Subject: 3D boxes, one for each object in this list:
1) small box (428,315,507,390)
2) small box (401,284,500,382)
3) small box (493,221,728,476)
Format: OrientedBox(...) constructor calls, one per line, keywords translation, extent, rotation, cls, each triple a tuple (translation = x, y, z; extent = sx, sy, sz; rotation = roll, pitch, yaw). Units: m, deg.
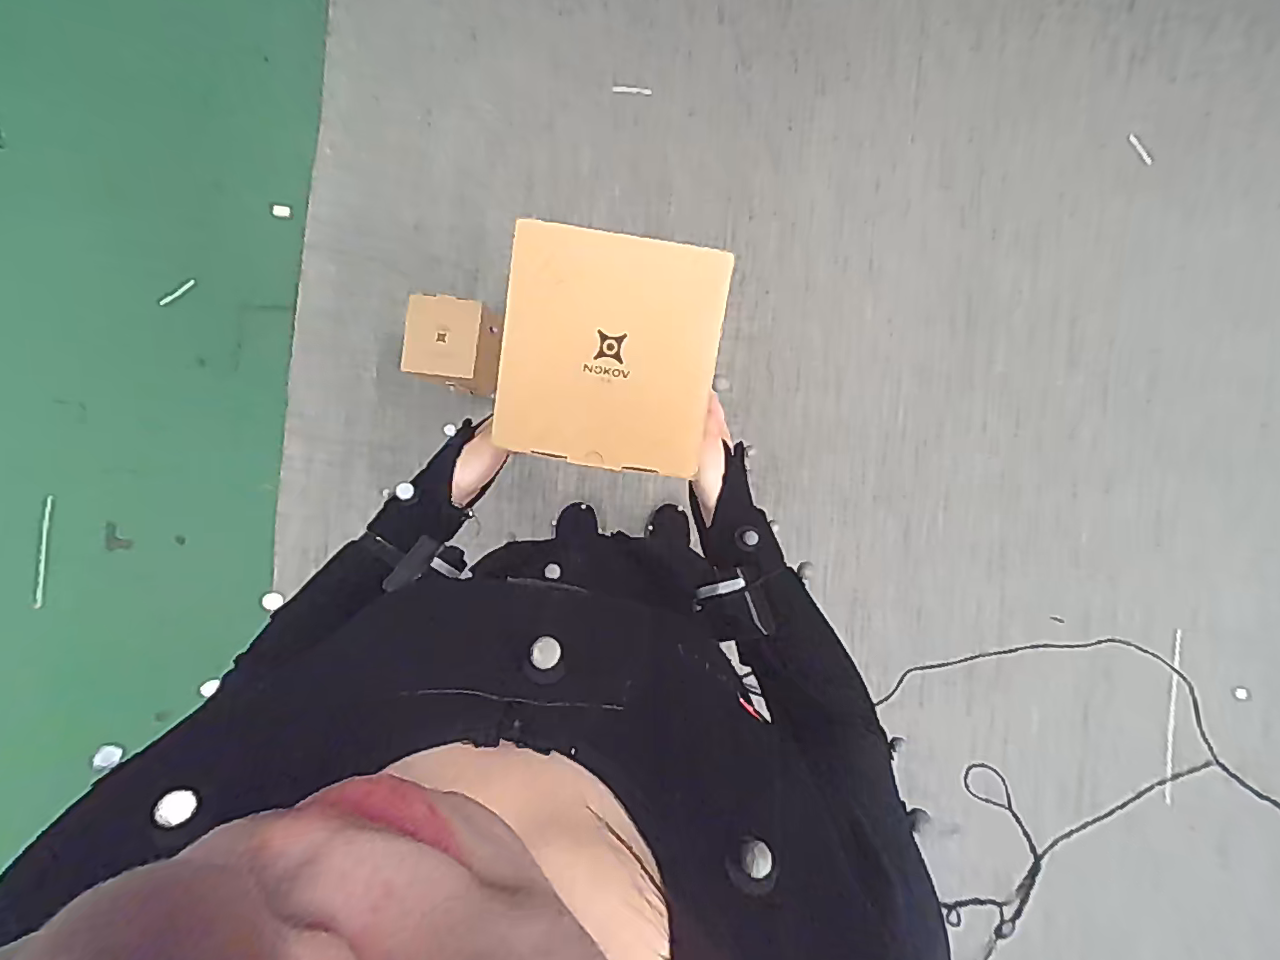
OrientedBox(translation=(-0.437, -0.344, 1.433), extent=(0.168, 0.176, 0.179), rotation=(10, 92, 0), cls="small box")
OrientedBox(translation=(-0.436, -0.339, 1.270), extent=(0.168, 0.176, 0.179), rotation=(7, 92, 2), cls="small box")
OrientedBox(translation=(-0.026, -0.116, 0.505), extent=(0.168, 0.176, 0.179), rotation=(9, 102, -1), cls="small box")
